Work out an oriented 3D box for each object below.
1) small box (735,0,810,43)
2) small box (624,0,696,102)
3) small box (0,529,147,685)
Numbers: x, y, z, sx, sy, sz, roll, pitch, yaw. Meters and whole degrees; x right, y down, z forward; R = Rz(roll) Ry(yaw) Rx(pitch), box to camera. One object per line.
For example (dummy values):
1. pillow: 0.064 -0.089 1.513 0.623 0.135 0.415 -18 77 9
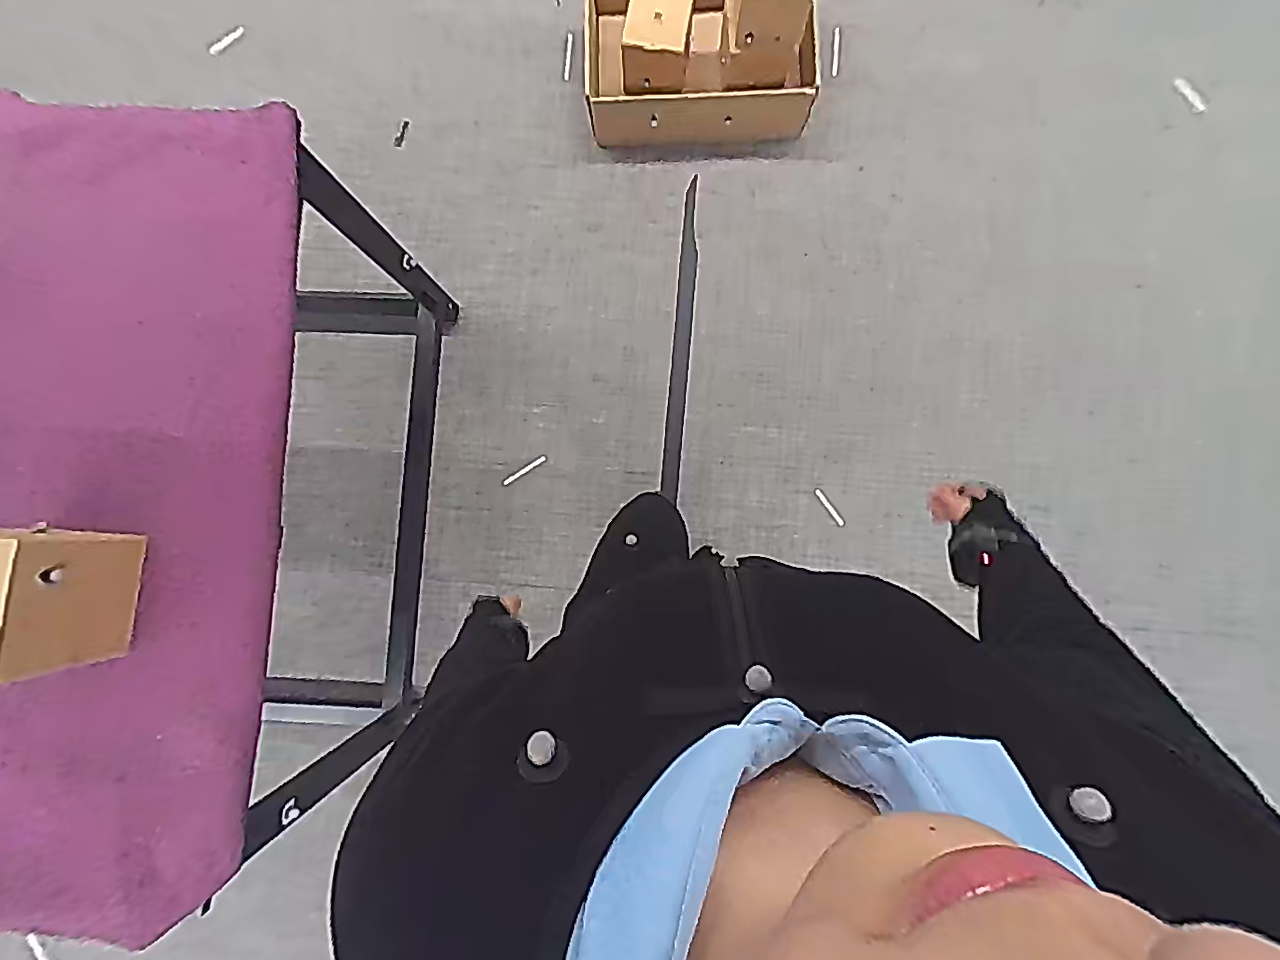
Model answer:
1. small box: 0.323 -1.204 1.309 0.168 0.176 0.179 0 84 3
2. small box: 0.052 -1.196 1.488 0.168 0.176 0.179 10 85 2
3. small box: -0.828 0.159 0.731 0.168 0.176 0.179 5 86 4
